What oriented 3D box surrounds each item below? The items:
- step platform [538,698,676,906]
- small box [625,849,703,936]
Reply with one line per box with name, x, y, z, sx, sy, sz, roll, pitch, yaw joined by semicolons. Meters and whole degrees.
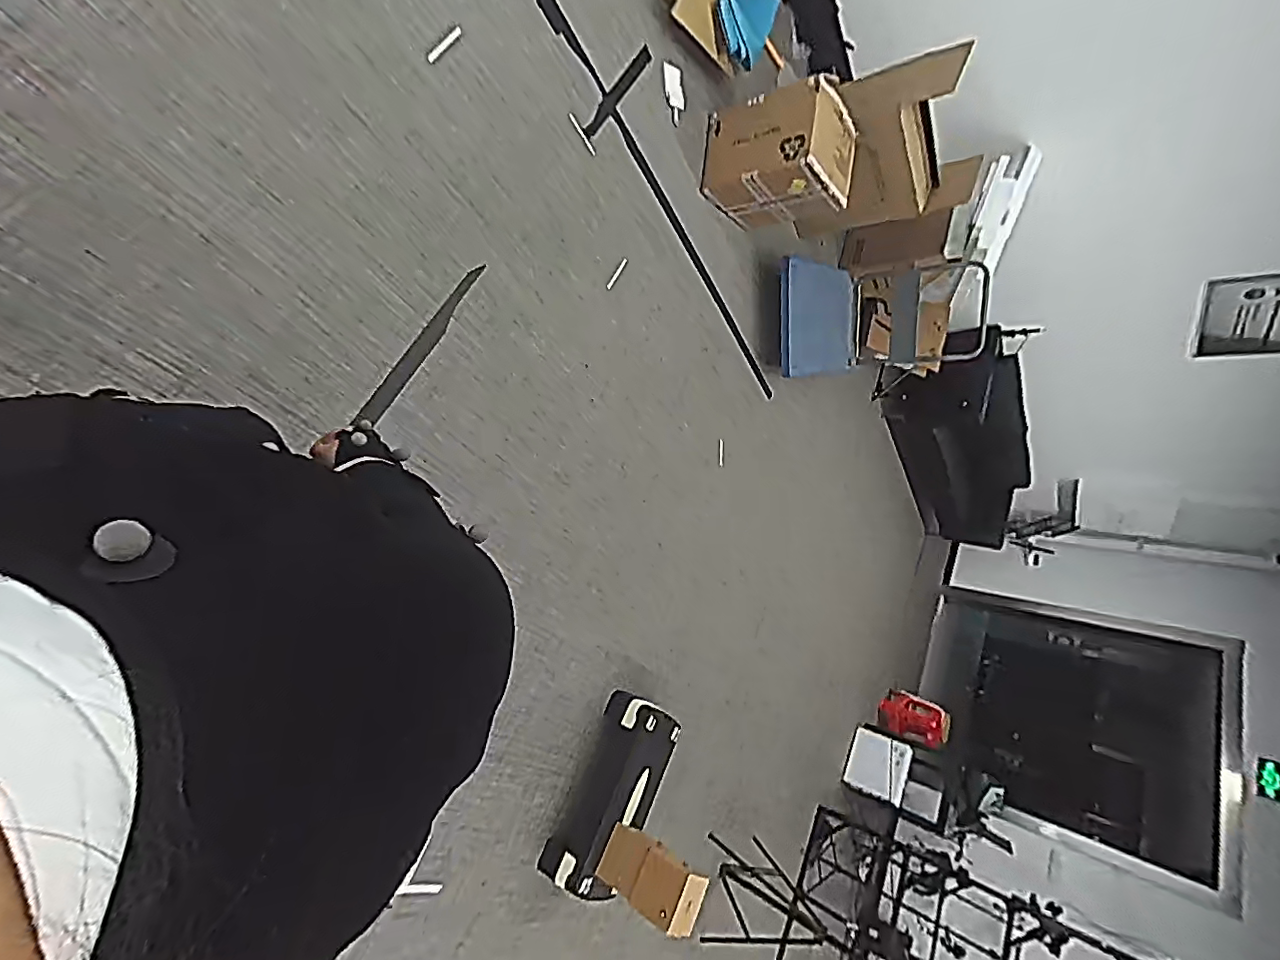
step platform;-0.104;1.224;2.087;0.286;0.204;0.684;47;59;-43
small box;0.079;1.368;1.800;0.168;0.176;0.179;50;59;-41
